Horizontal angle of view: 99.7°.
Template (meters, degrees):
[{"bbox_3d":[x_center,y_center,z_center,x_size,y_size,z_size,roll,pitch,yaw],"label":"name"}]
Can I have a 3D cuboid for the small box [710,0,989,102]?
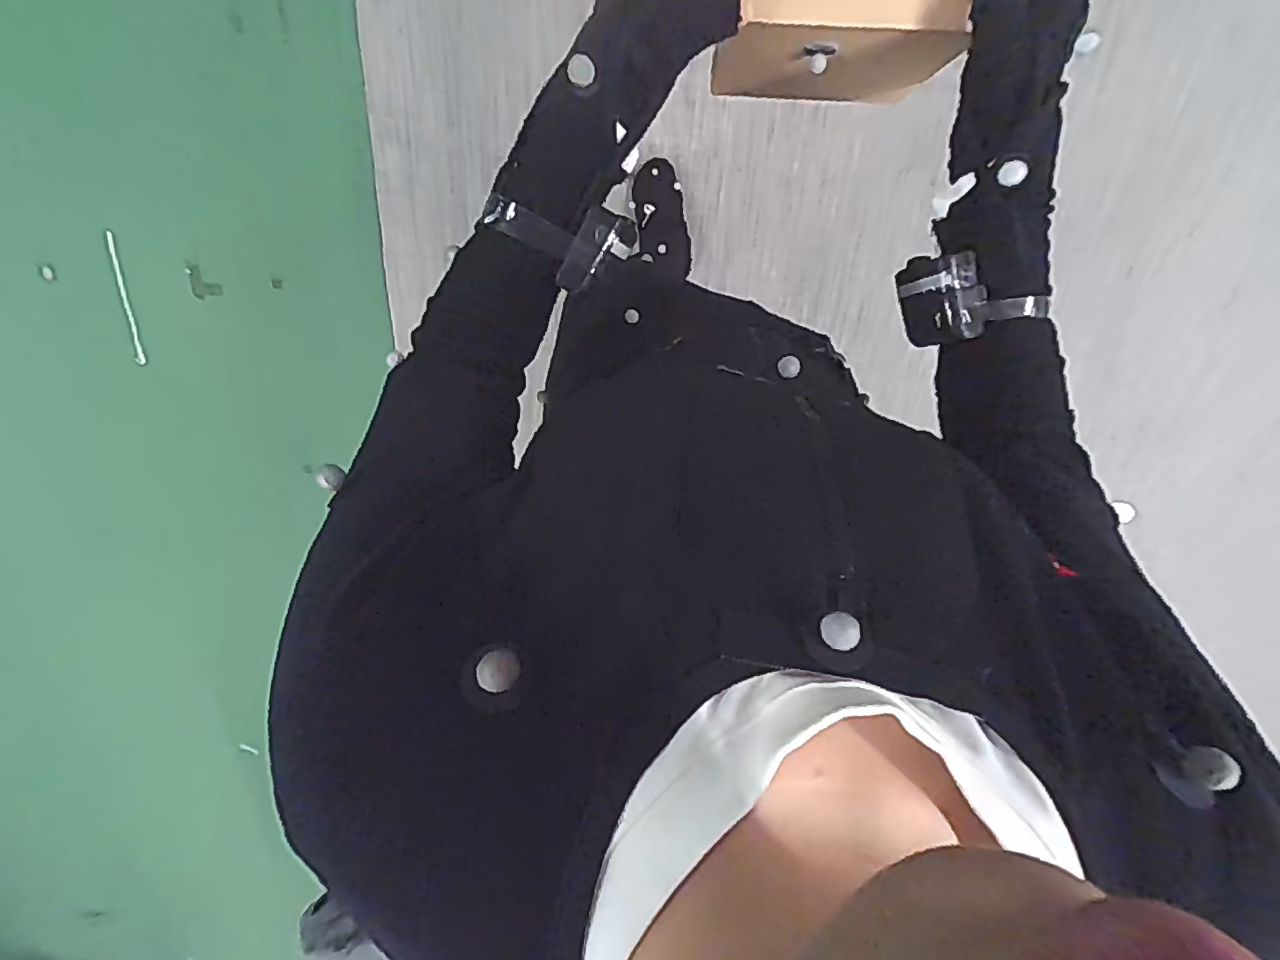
[{"bbox_3d":[0.148,-0.402,0.402,0.179,0.176,0.168,5,112,2],"label":"small box"}]
